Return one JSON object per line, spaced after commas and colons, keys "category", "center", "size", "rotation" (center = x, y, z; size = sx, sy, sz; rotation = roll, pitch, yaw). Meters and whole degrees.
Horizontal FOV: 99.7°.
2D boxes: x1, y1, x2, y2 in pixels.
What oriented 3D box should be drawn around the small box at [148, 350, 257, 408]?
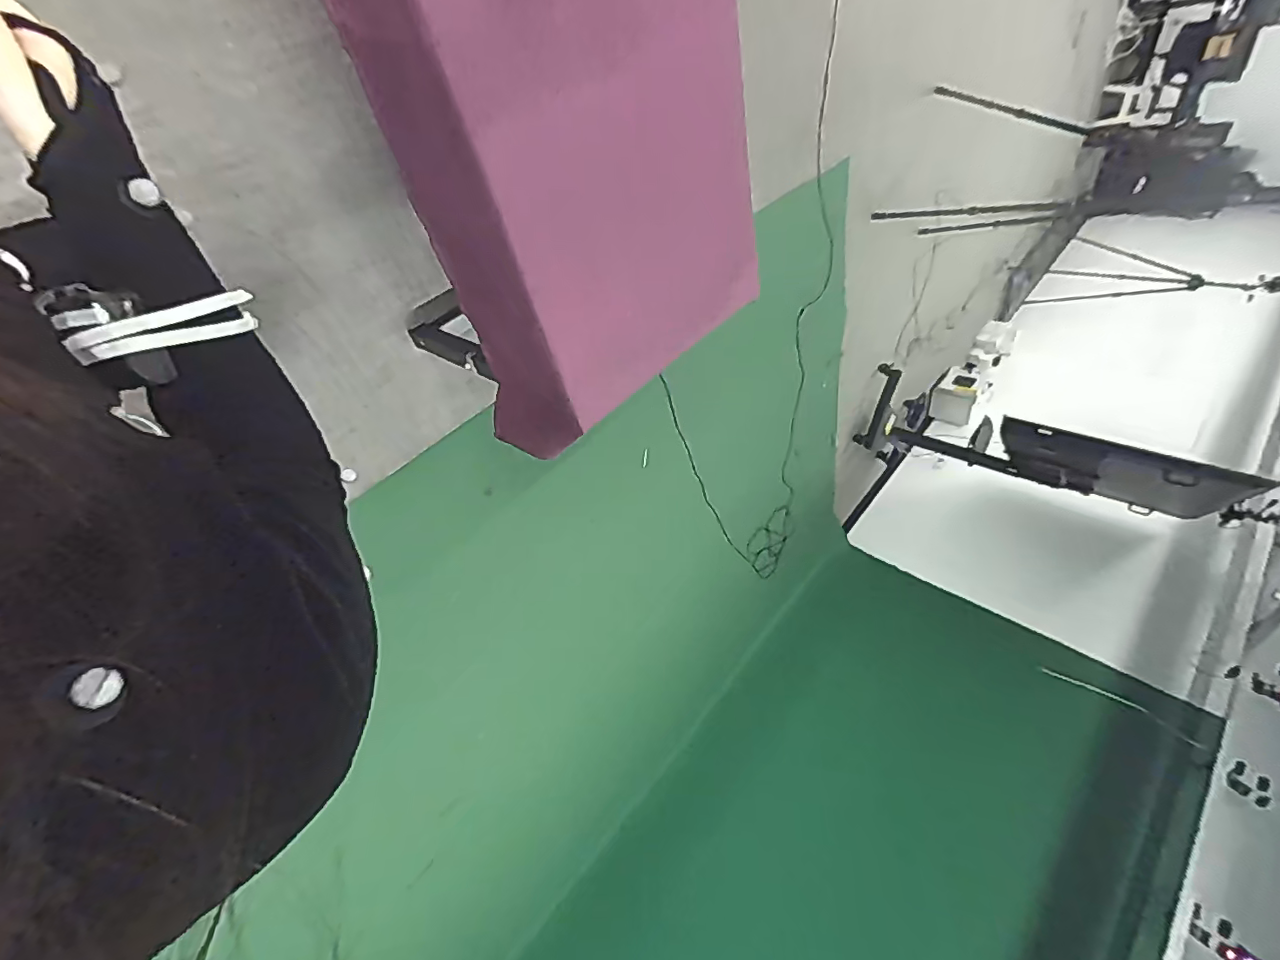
{"category": "small box", "center": [-0.912, -0.166, 1.176], "size": [0.168, 0.176, 0.179], "rotation": [-40, 139, -28]}
